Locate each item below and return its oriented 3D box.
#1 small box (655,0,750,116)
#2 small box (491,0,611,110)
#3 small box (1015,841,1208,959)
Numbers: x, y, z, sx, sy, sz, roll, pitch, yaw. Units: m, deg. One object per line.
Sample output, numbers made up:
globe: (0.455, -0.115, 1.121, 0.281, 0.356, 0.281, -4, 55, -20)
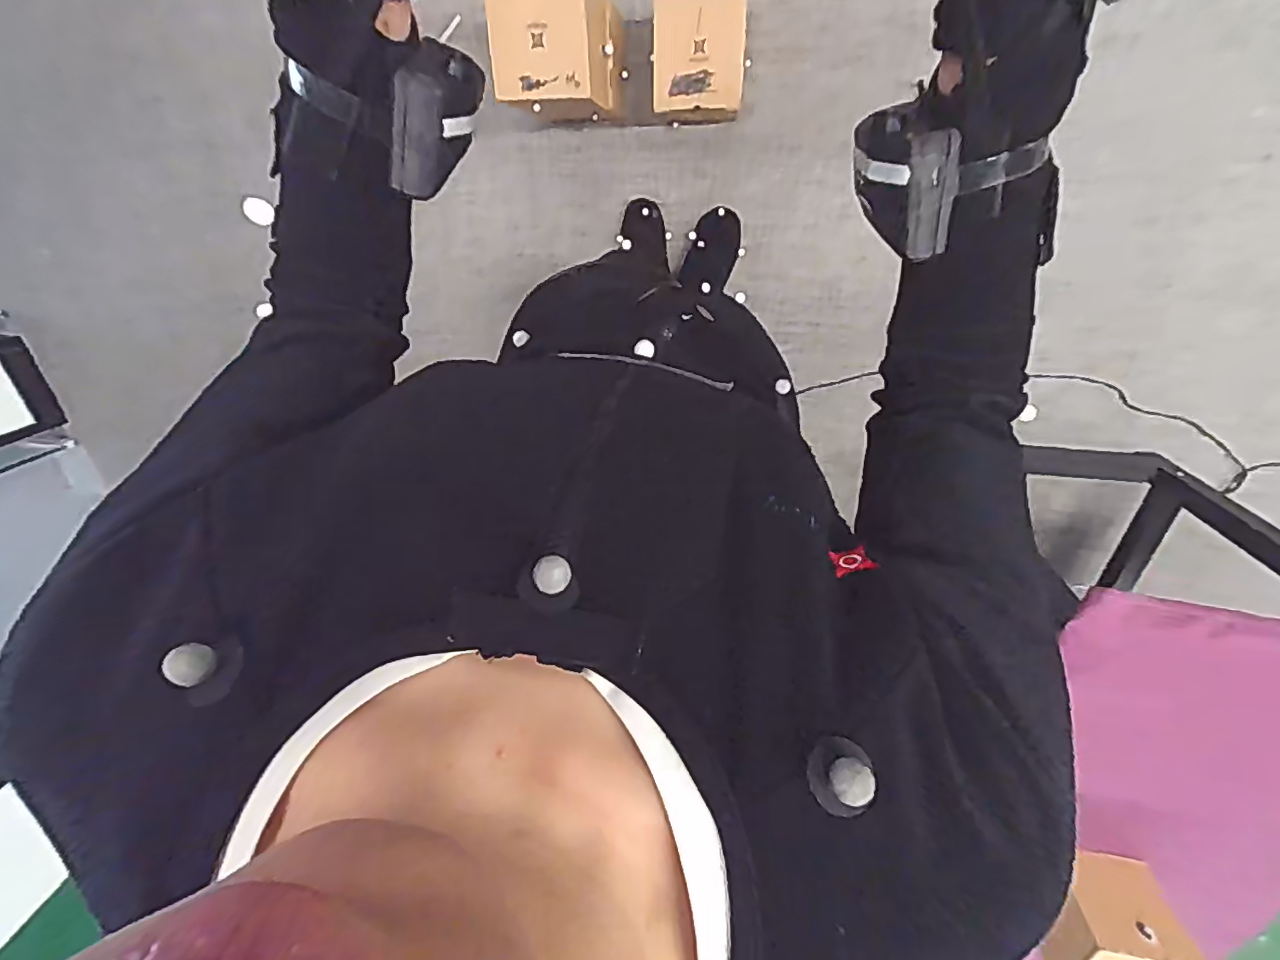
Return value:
small box: (0.121, -0.813, 1.041, 0.168, 0.176, 0.179, 3, 118, 7)
small box: (-0.145, -0.754, 0.929, 0.168, 0.176, 0.179, 4, 118, 7)
small box: (0.827, 0.785, 0.967, 0.179, 0.176, 0.168, 9, 118, 5)
